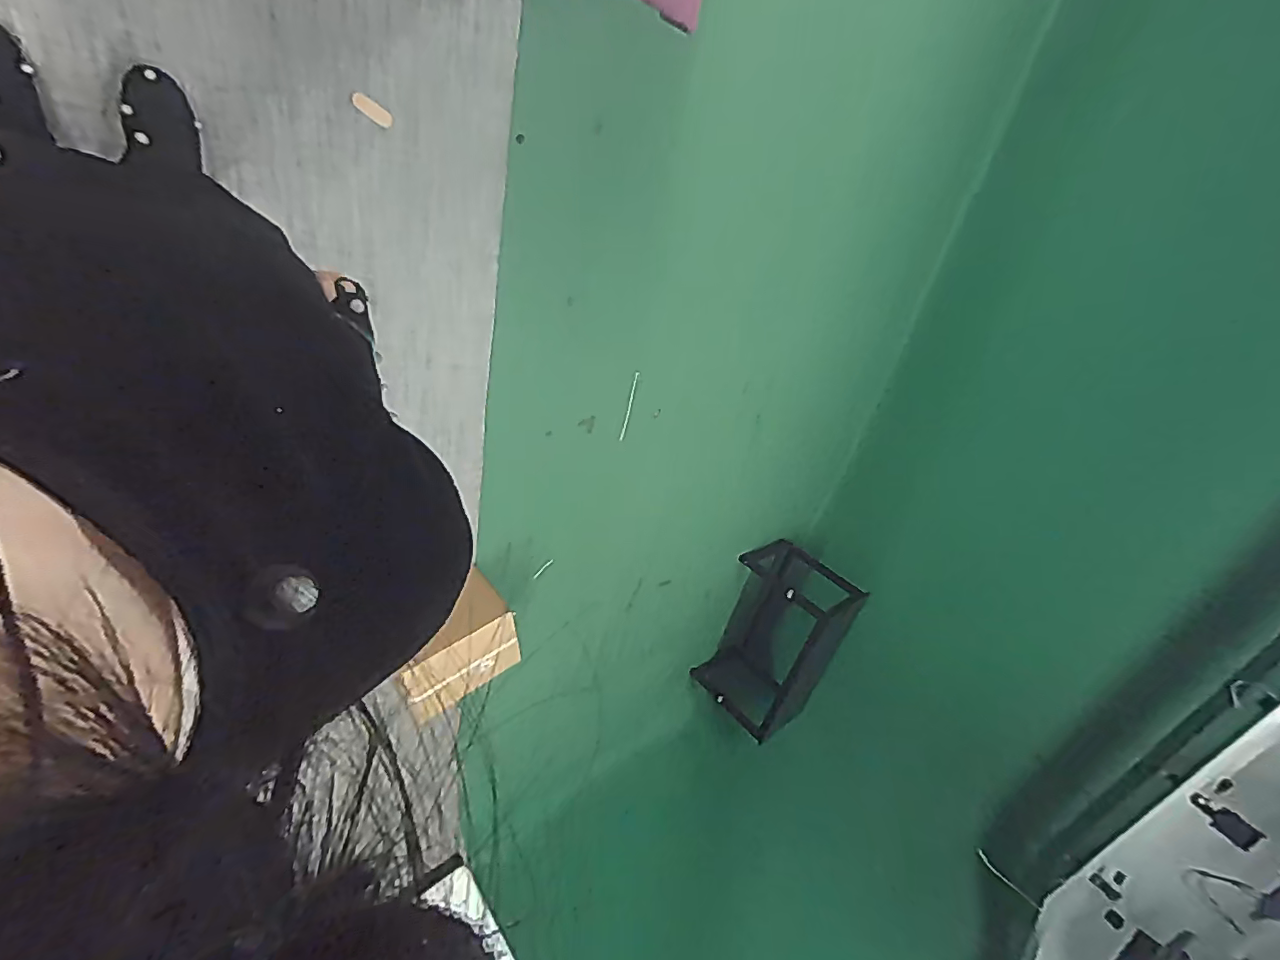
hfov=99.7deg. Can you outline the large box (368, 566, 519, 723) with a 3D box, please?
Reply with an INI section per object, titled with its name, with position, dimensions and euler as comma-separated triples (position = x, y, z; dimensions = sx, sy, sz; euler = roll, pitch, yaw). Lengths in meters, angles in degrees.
[large box]
position = -0.717, 0.596, 2.005
dimensions = 0.408, 0.320, 0.320
euler = -28, 138, -32
